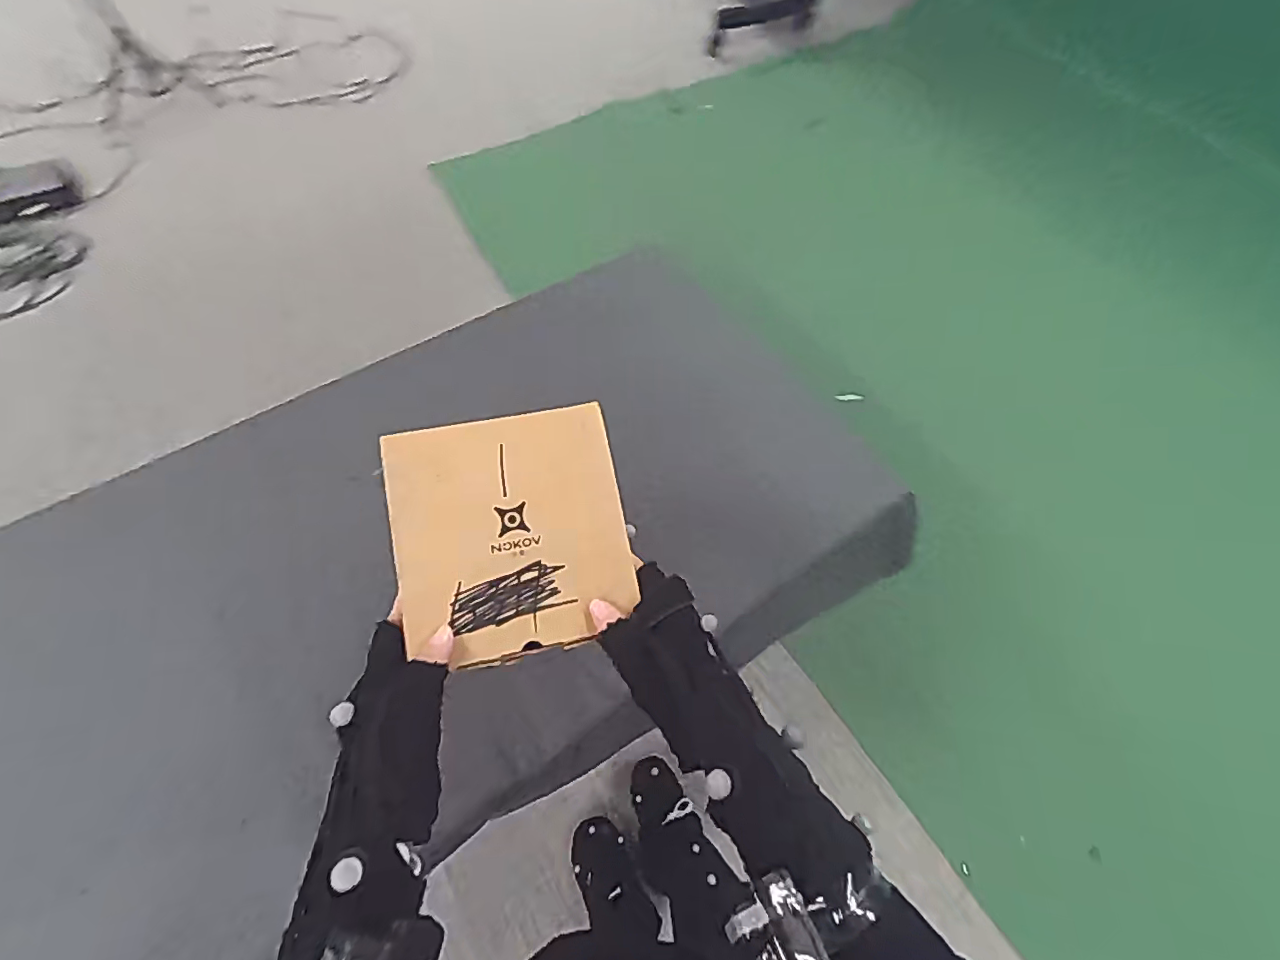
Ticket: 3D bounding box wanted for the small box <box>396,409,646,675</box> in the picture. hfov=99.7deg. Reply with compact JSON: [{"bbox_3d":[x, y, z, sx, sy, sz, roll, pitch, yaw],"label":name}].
[{"bbox_3d":[-0.097,0.055,0.474,0.168,0.176,0.179,-9,79,-10],"label":"small box"}]
